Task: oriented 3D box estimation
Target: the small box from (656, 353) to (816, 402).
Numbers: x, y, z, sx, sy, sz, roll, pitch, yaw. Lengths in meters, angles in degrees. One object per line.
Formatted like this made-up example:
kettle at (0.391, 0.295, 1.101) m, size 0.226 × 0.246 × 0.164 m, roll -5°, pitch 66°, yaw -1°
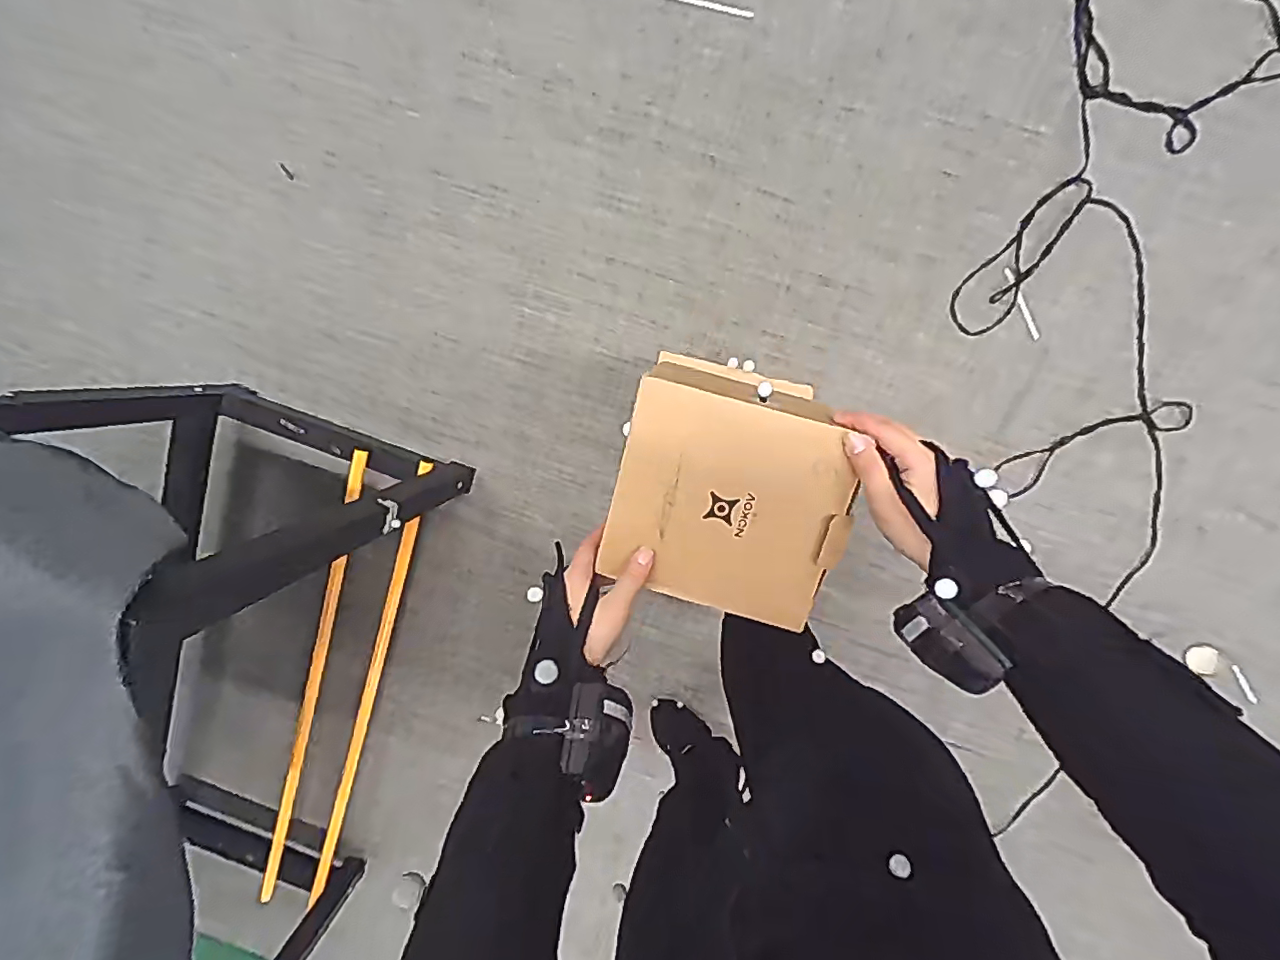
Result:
small box at (0.095, -0.058, 0.681) m, size 0.179 × 0.176 × 0.168 m, roll 15°, pitch 102°, yaw 3°

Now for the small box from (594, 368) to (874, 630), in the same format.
small box at (0.076, 0.001, 0.485) m, size 0.179 × 0.176 × 0.168 m, roll 16°, pitch 107°, yaw 5°
